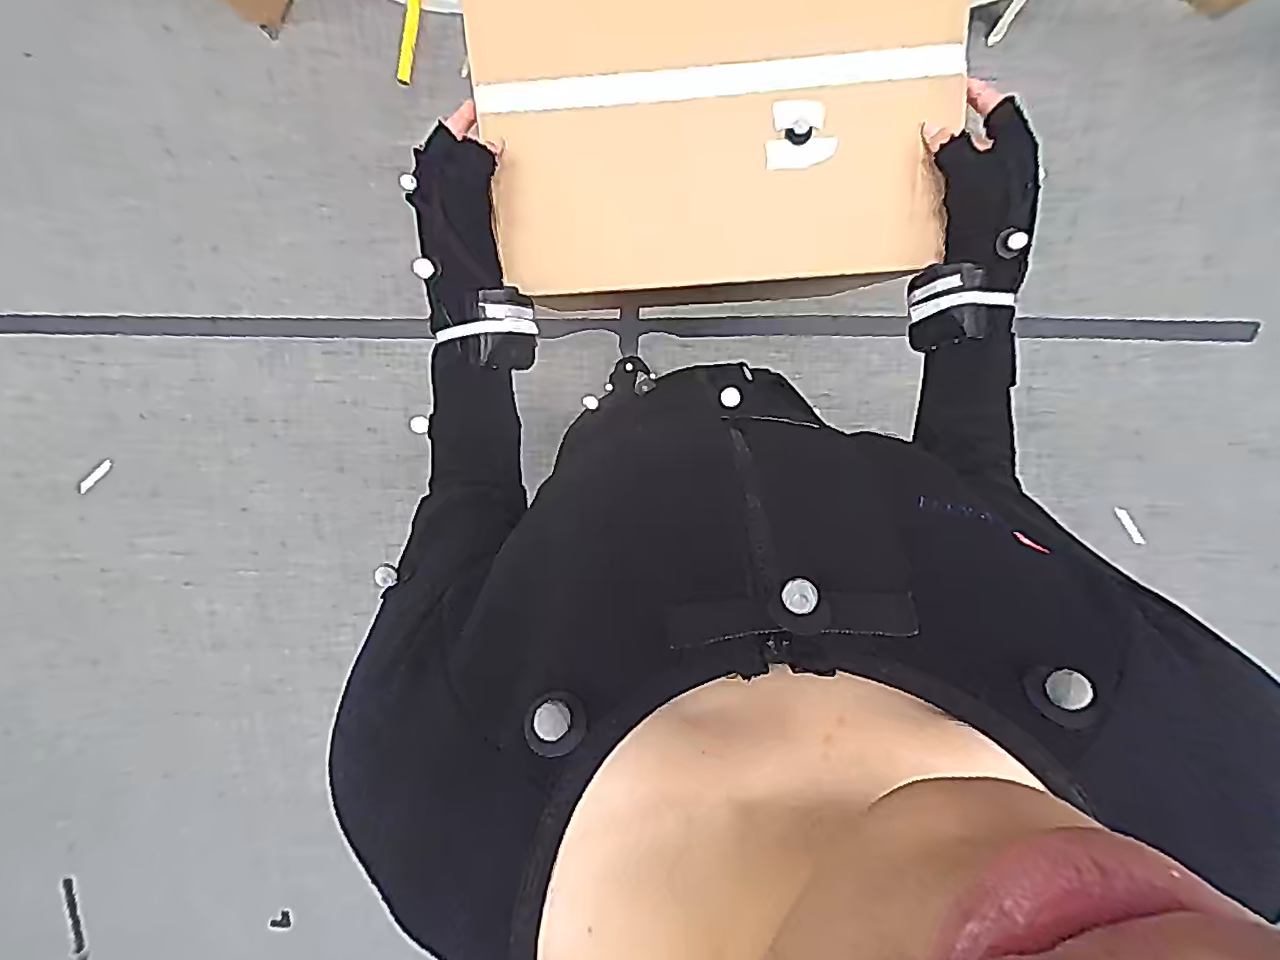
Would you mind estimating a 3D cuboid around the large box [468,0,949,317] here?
[{"bbox_3d":[0.060,-0.368,0.608,0.408,0.320,0.320,-3,104,1],"label":"large box"}]
